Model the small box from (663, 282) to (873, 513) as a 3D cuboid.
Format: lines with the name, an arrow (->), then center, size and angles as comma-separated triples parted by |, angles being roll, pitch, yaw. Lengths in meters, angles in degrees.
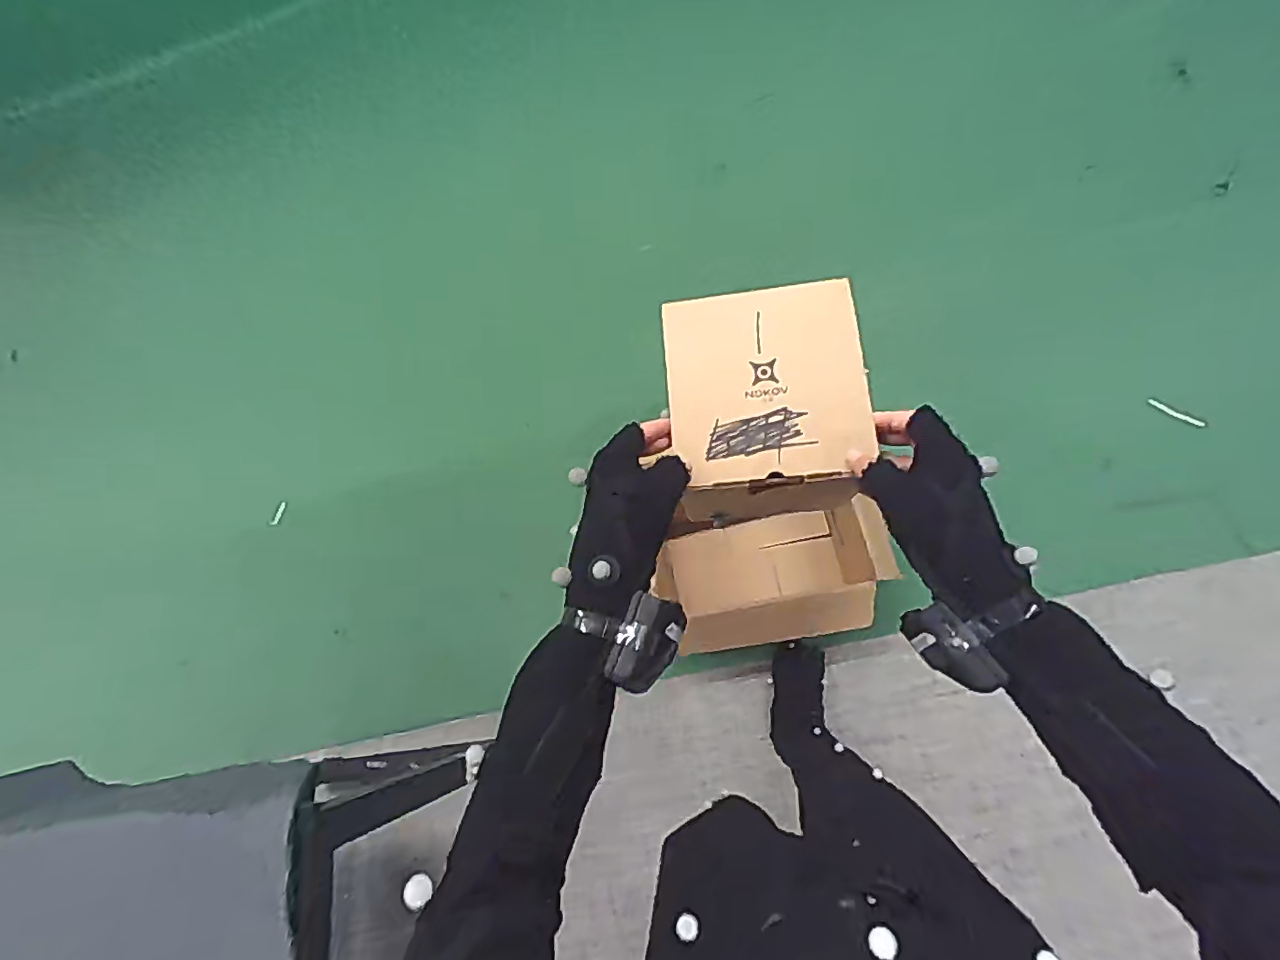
small box -> 0.120, -0.065, 0.546 | 0.168, 0.176, 0.179 | -6, 75, 8
